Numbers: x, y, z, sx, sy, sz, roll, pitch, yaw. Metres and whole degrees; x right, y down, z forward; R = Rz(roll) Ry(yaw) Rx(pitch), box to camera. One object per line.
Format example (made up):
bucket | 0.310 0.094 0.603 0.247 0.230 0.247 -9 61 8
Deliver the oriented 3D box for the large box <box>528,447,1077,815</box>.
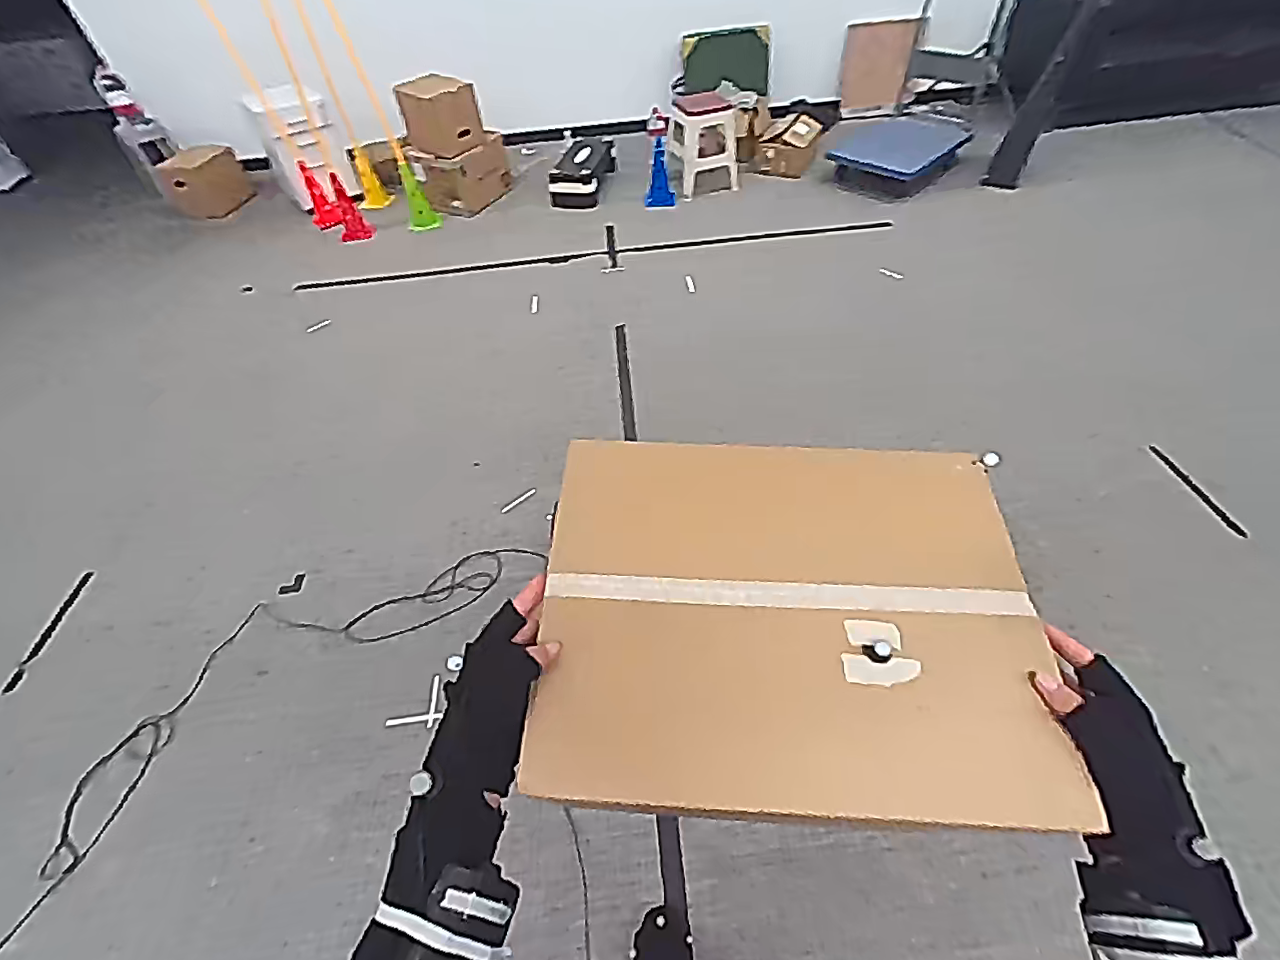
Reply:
large box | 0.117 0.178 0.591 0.408 0.320 0.320 2 58 1
